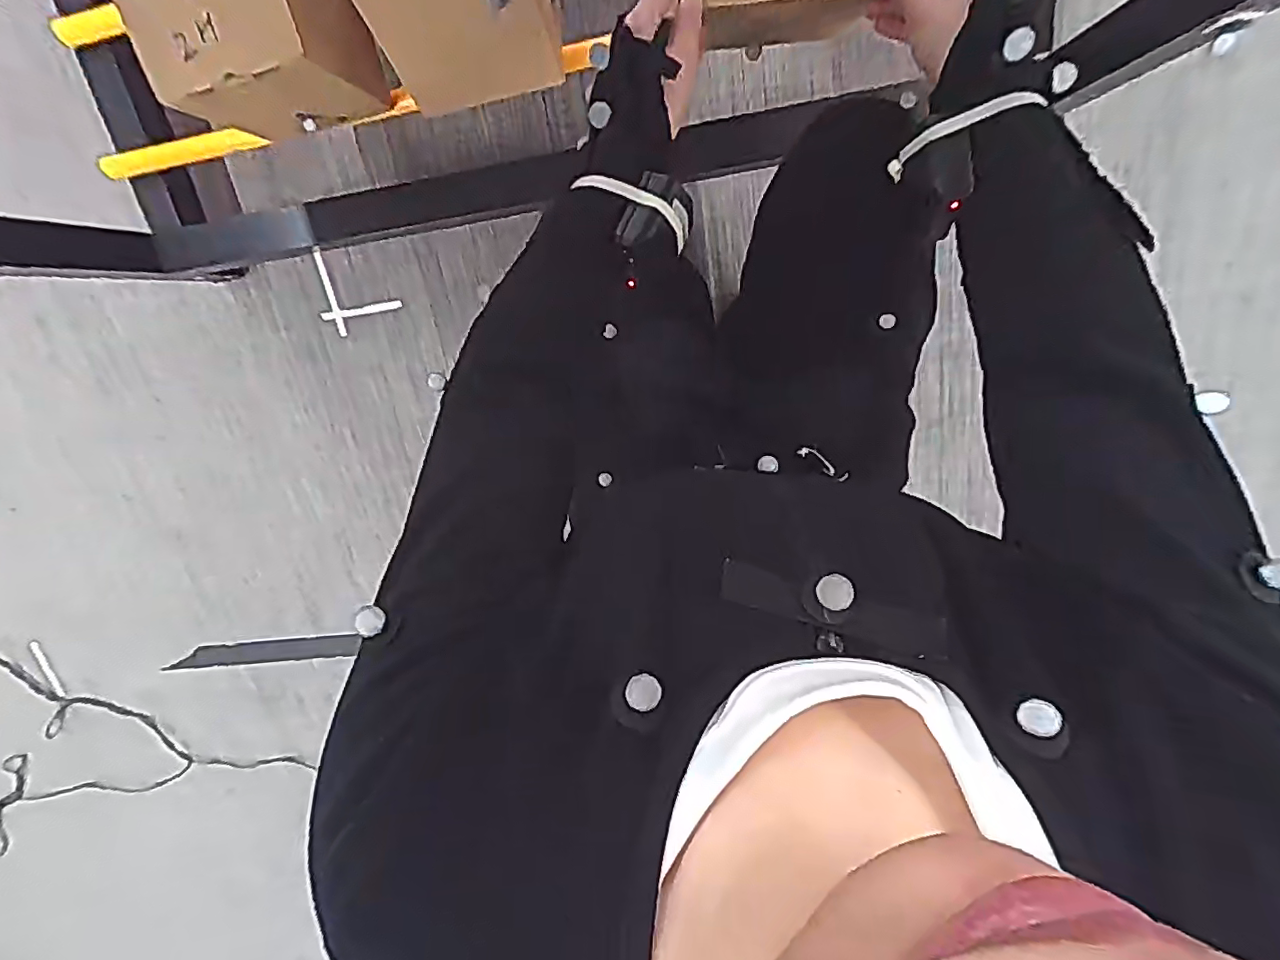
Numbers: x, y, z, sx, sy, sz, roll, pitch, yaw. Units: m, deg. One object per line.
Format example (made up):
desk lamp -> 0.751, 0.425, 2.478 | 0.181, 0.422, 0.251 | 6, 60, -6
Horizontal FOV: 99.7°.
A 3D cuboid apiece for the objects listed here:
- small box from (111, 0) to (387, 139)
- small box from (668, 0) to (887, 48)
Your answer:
small box -> -0.399, -0.486, 0.556 | 0.168, 0.176, 0.179 | -10, 109, 8
small box -> 0.104, -0.453, 0.402 | 0.168, 0.176, 0.179 | -4, 120, 2
